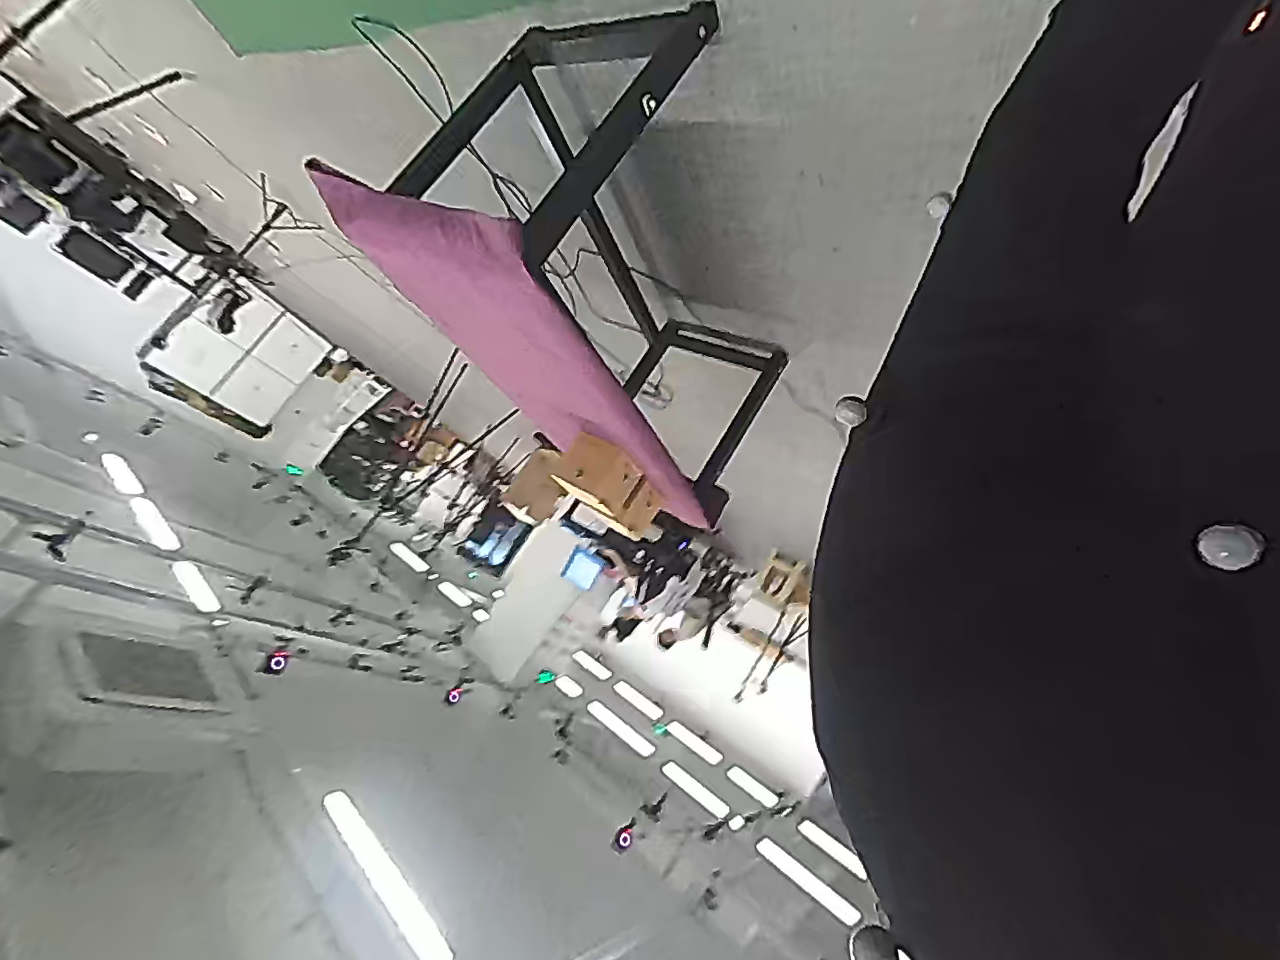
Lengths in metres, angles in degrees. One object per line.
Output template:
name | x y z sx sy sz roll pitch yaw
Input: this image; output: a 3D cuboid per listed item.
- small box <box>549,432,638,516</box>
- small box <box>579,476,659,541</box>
small box | -0.137 -0.023 1.646 0.179 0.176 0.168 25 165 32
small box | -0.066 0.073 1.815 0.179 0.176 0.168 25 165 32
